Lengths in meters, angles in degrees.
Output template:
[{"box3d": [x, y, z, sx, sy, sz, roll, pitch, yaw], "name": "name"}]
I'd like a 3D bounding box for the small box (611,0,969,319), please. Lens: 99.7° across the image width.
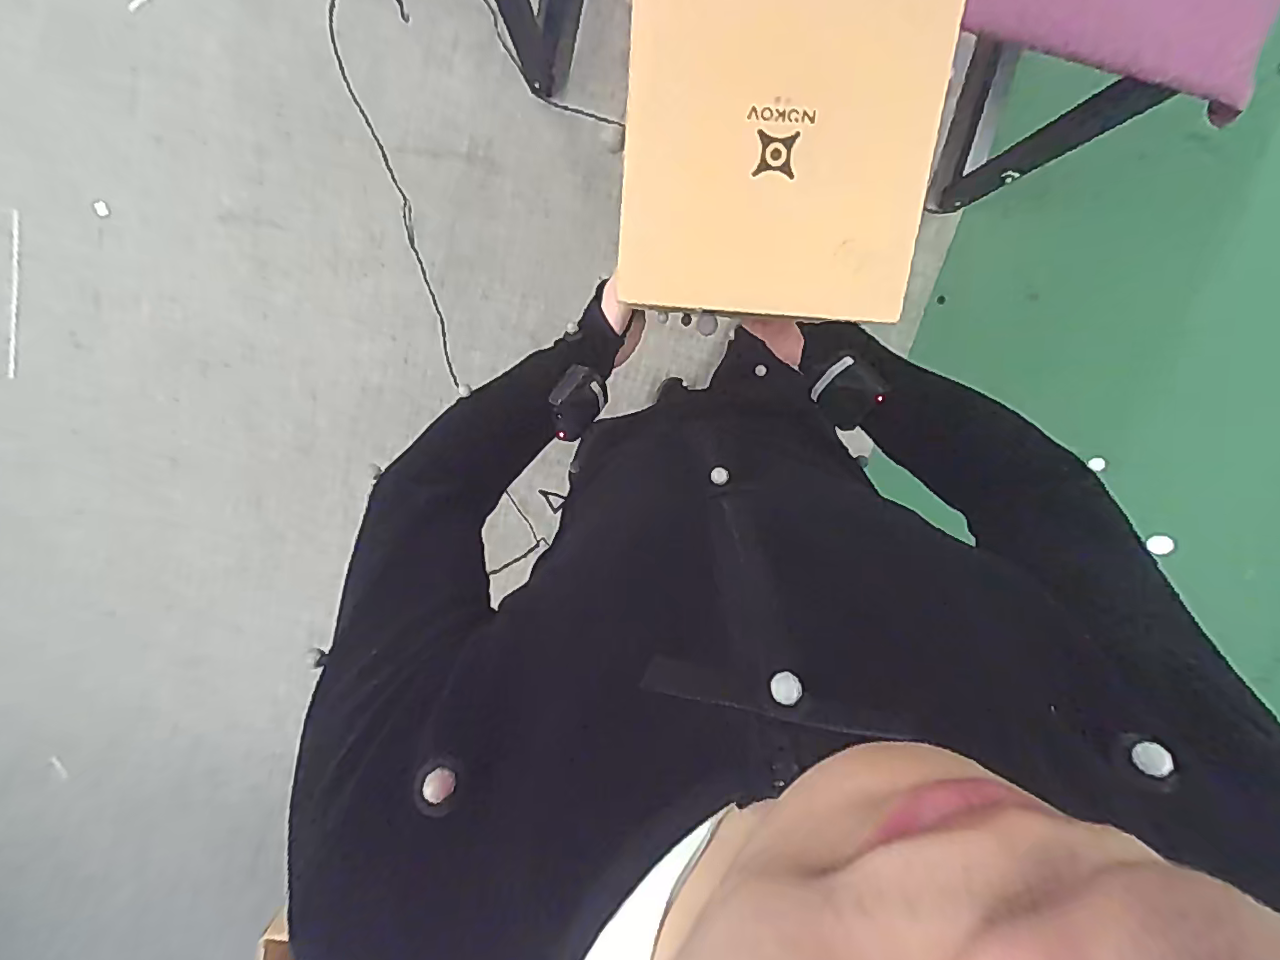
[{"box3d": [0.076, -0.202, 0.355, 0.168, 0.176, 0.179, 5, 106, 2], "name": "small box"}]
